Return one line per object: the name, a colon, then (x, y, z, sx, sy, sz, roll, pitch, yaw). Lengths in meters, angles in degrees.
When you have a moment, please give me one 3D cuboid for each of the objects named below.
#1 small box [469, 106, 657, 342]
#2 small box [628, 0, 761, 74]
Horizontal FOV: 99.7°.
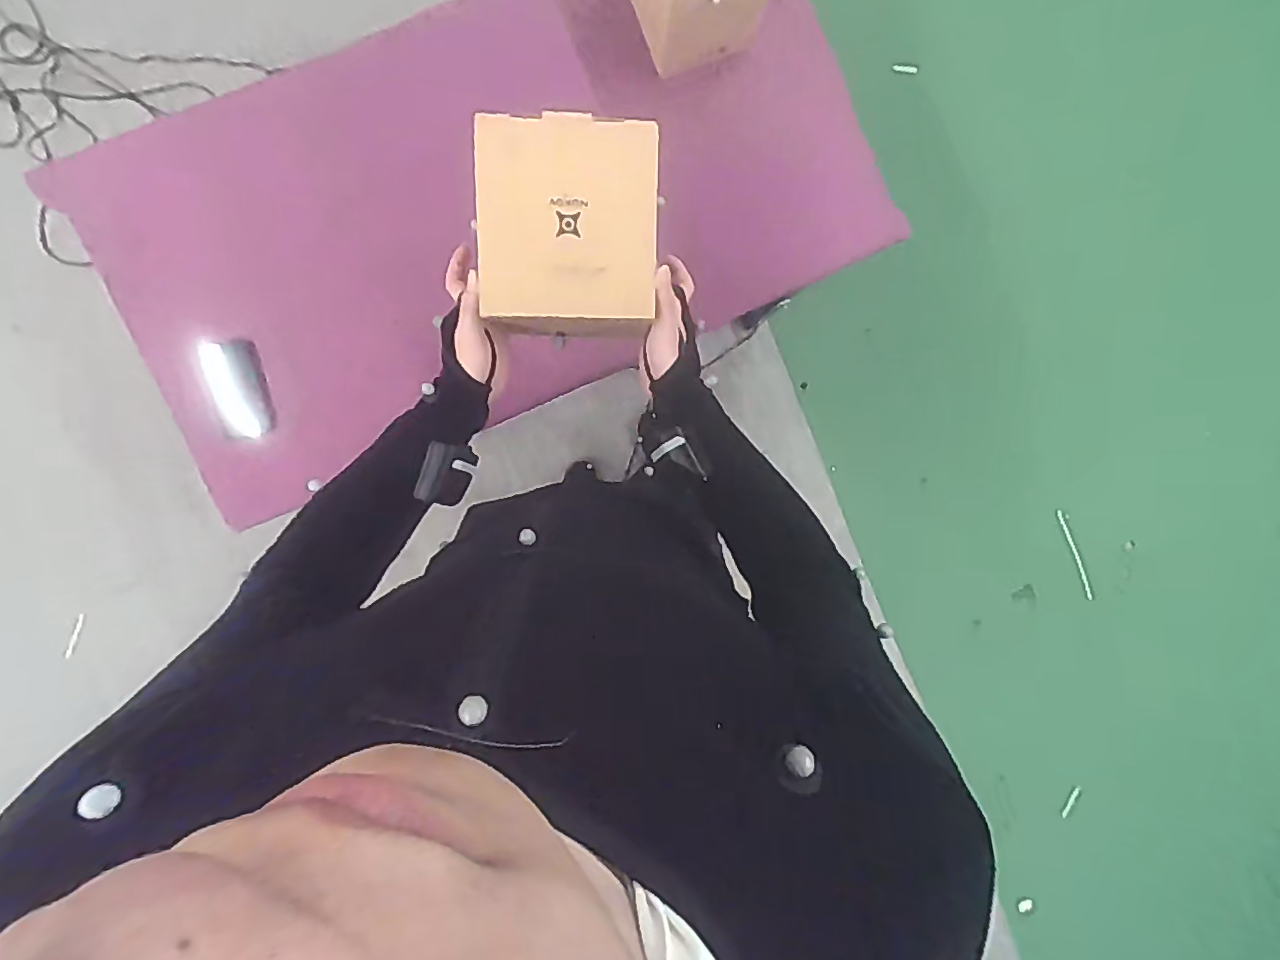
small box: (-0.076, -0.245, 0.560, 0.168, 0.176, 0.179, 1, 99, -4)
small box: (0.074, -0.755, 0.790, 0.168, 0.176, 0.179, -22, 93, -2)
